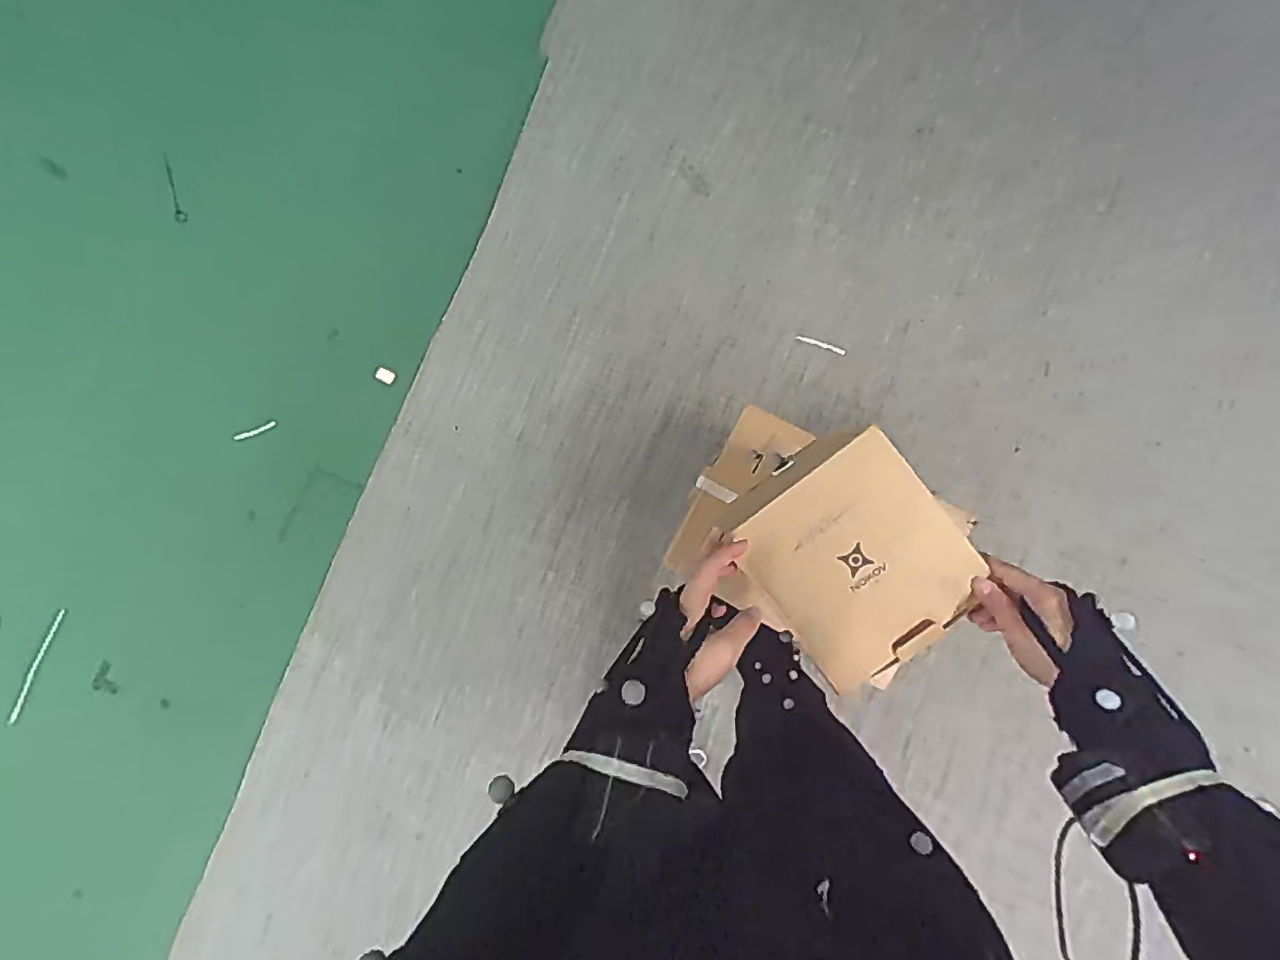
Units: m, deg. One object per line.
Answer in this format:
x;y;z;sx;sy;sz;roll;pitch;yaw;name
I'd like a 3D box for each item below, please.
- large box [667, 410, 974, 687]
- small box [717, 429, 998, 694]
0.301;0.116;1.023;0.408;0.320;0.320;29;89;8;large box
0.193;0.066;0.539;0.168;0.176;0.179;-39;88;6;small box
